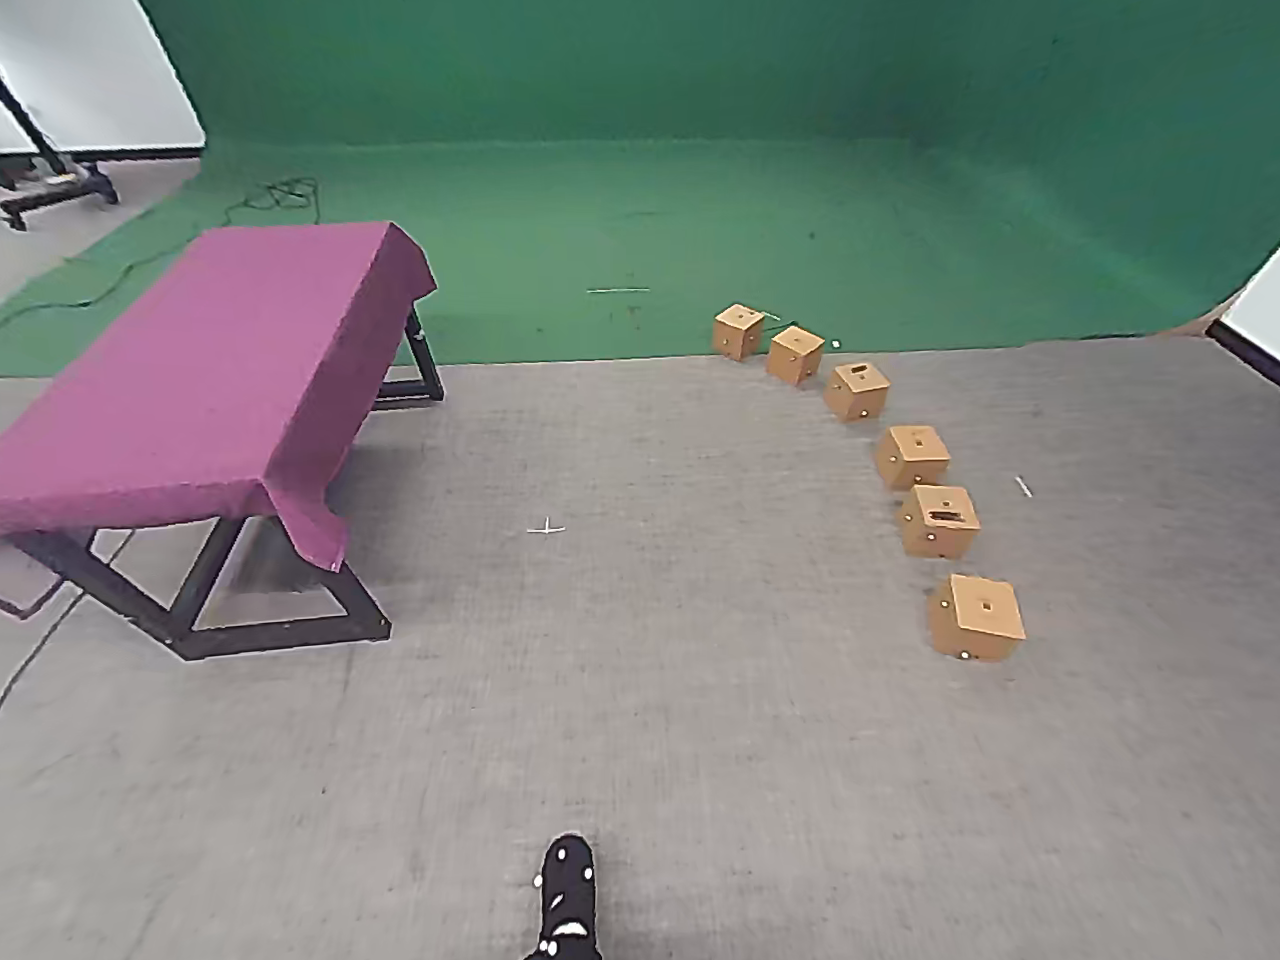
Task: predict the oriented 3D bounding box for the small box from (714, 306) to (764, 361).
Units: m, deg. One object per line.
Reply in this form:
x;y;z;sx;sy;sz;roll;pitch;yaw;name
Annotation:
0.460;-0.686;2.543;0.168;0.176;0.179;33;56;27;small box

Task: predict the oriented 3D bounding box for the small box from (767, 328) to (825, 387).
0.691;-0.546;2.416;0.168;0.176;0.179;-35;56;-28;small box

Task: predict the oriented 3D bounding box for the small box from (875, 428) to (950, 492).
0.983;-0.070;1.969;0.168;0.176;0.179;-1;47;-1;small box

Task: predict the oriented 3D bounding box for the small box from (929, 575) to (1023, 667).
0.943;0.401;1.538;0.168;0.176;0.179;10;49;10;small box
